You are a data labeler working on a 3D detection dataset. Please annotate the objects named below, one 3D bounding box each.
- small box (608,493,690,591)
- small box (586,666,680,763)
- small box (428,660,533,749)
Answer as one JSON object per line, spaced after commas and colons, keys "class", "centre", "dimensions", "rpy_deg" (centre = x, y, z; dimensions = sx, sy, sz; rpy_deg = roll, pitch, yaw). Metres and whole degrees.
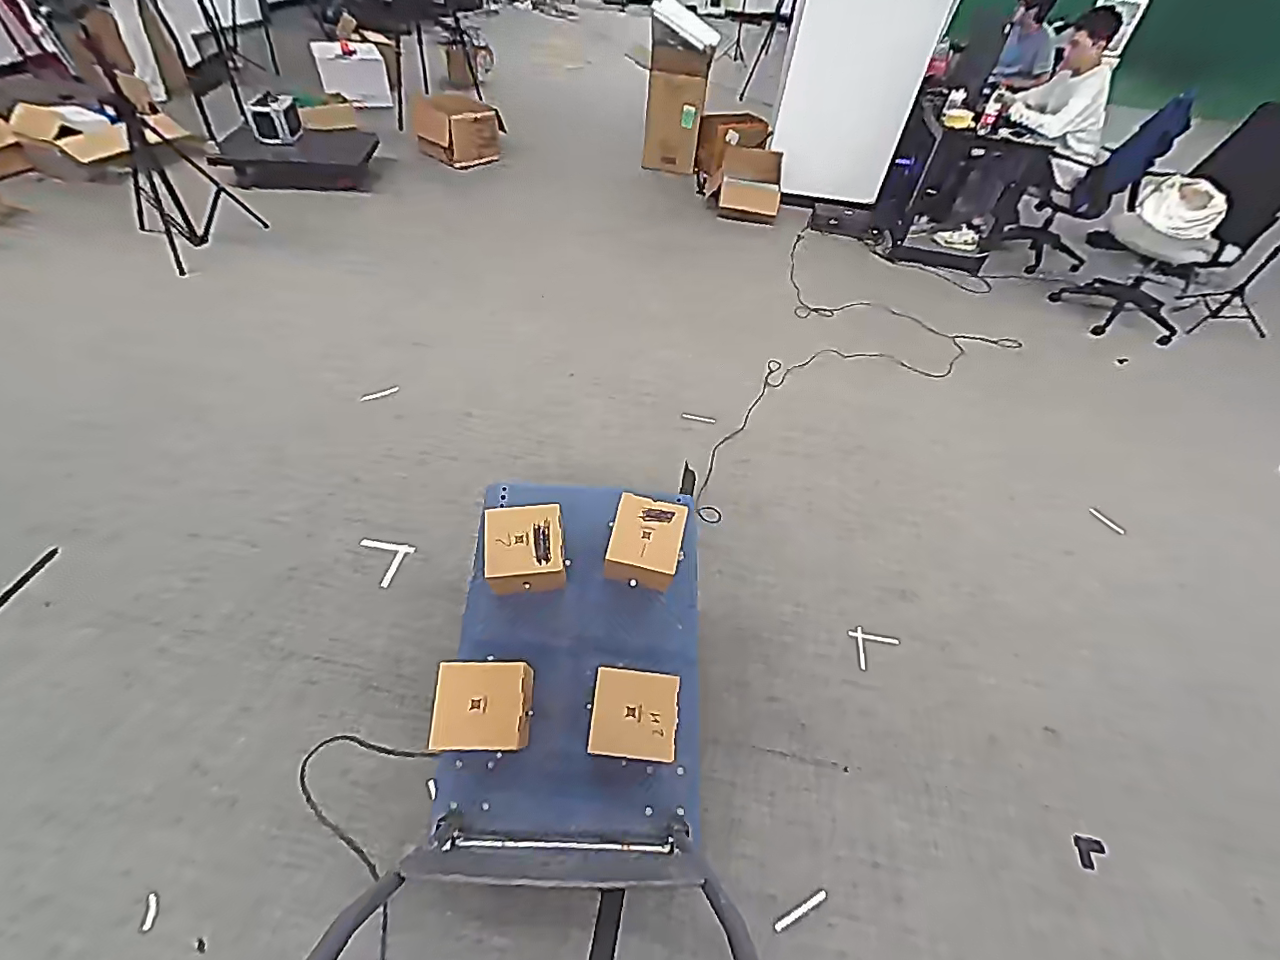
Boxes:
{"class": "small box", "centre": [0.017, 0.157, 1.341], "dimensions": [0.168, 0.176, 0.179], "rpy_deg": [14, 66, 2]}
{"class": "small box", "centre": [-0.016, 0.510, 1.172], "dimensions": [0.179, 0.176, 0.168], "rpy_deg": [8, 65, -1]}
{"class": "small box", "centre": [-0.331, 0.484, 1.160], "dimensions": [0.179, 0.176, 0.168], "rpy_deg": [2, 65, -5]}
